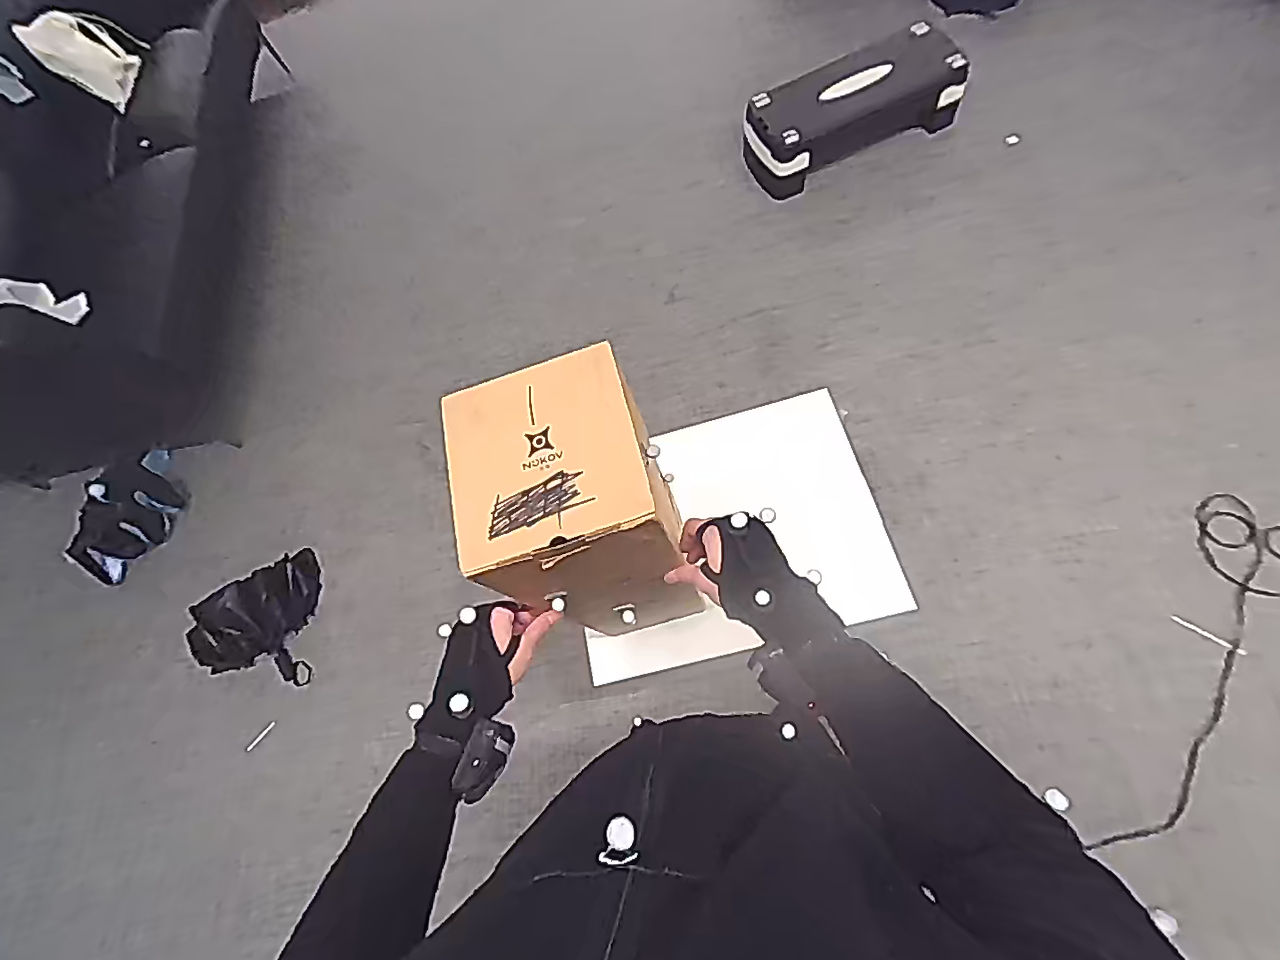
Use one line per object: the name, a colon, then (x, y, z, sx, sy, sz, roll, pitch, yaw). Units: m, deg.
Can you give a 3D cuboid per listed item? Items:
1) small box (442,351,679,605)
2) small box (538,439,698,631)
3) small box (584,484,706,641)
small box: (-0.069, 0.013, 0.527, 0.168, 0.176, 0.179, -18, 64, 5)
small box: (-0.036, 0.074, 0.677, 0.168, 0.176, 0.179, -19, 66, 5)
small box: (-0.004, 0.132, 0.826, 0.168, 0.176, 0.179, -17, 65, 5)
